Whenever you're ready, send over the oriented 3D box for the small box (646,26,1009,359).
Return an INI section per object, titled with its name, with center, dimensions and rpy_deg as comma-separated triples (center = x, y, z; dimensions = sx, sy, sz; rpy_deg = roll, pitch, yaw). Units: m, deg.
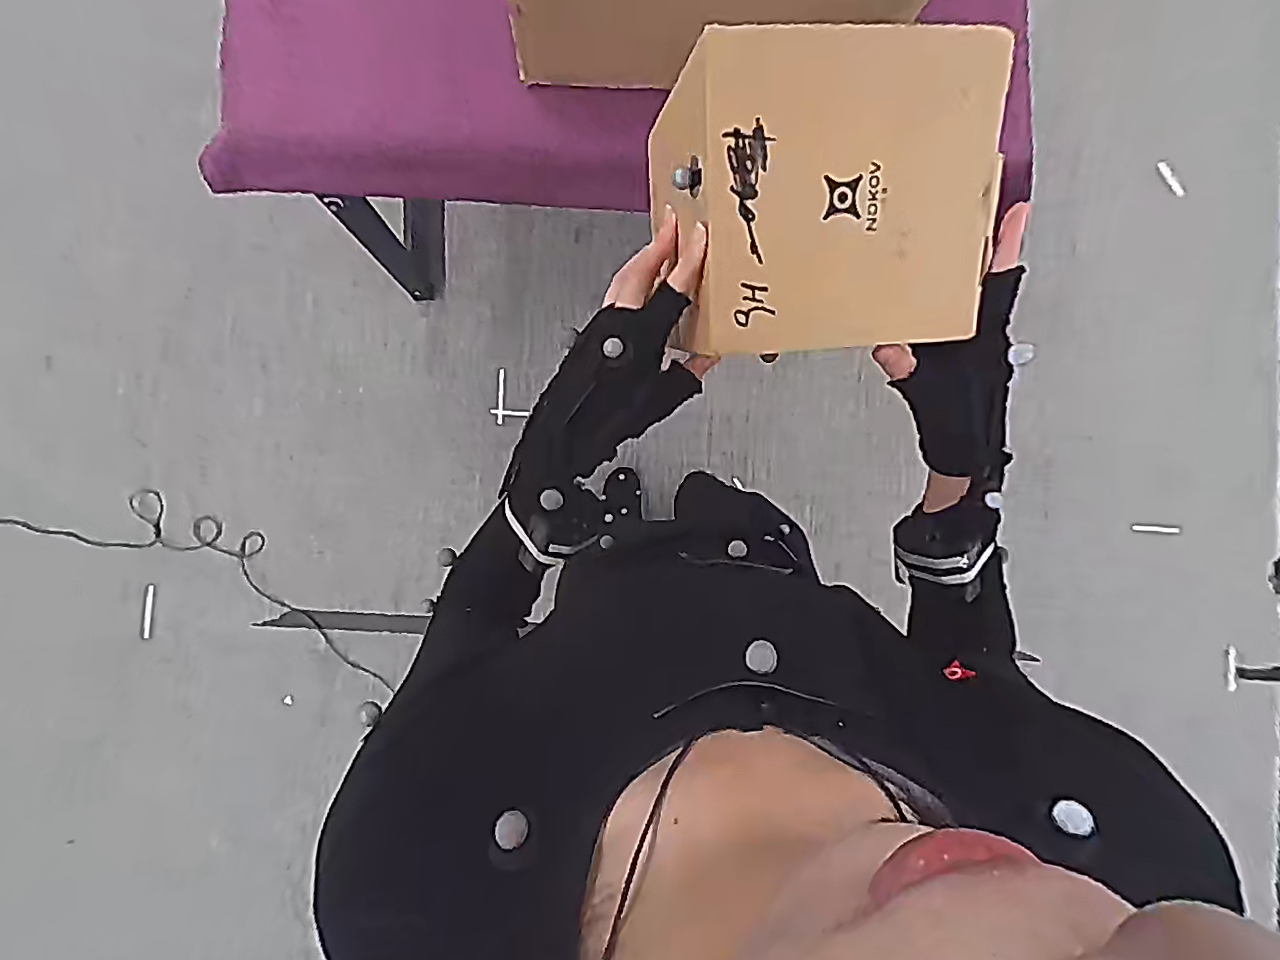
[small box]
center = 0.107, -0.178, 0.382
dimensions = 0.179, 0.176, 0.168
rpy_deg = -5, 106, -9
